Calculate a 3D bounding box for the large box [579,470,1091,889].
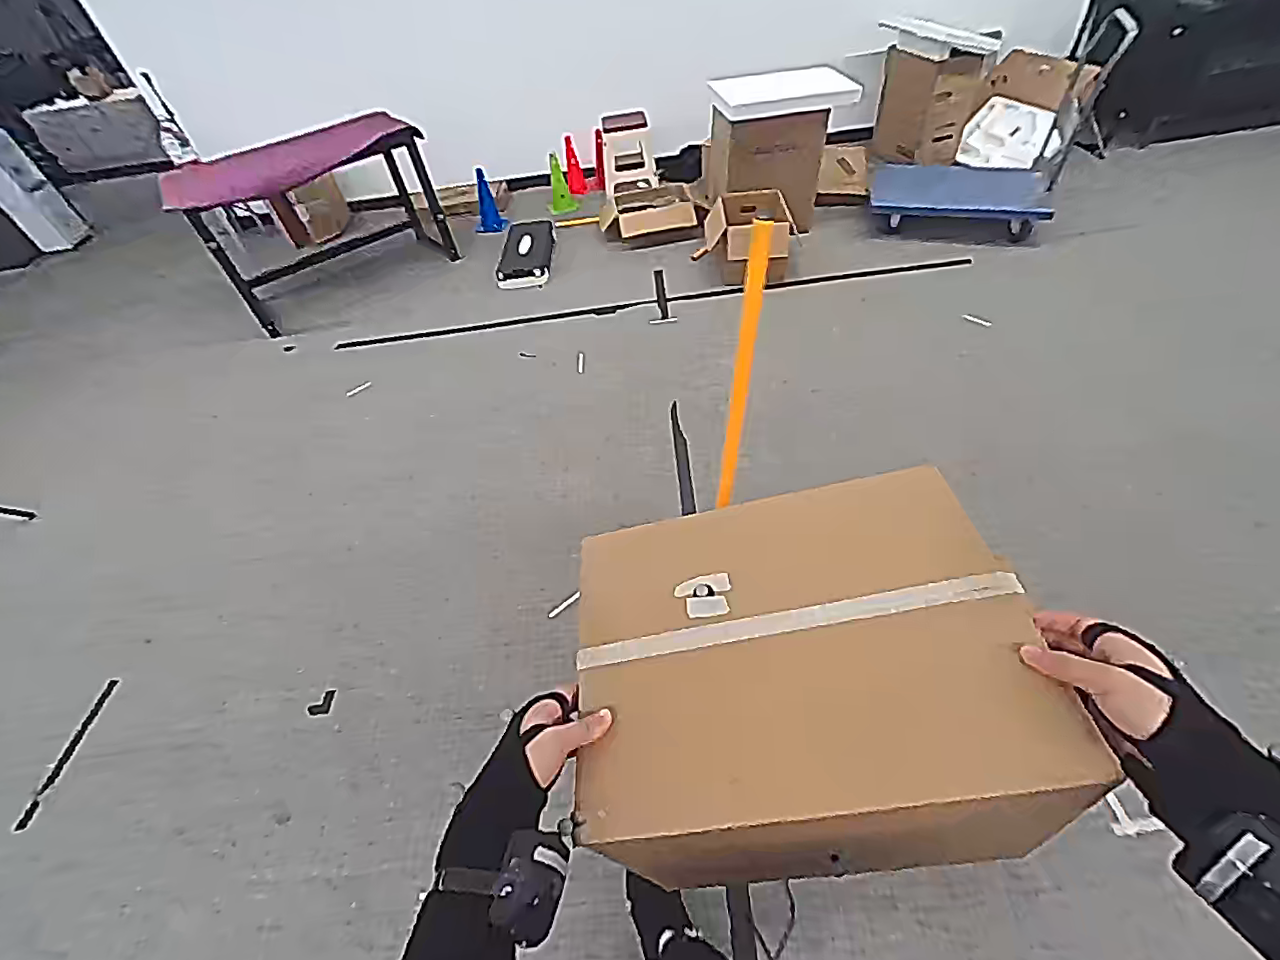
[{"bbox_3d":[0.173,0.243,0.626,0.408,0.320,0.320,-15,43,10],"label":"large box"}]
